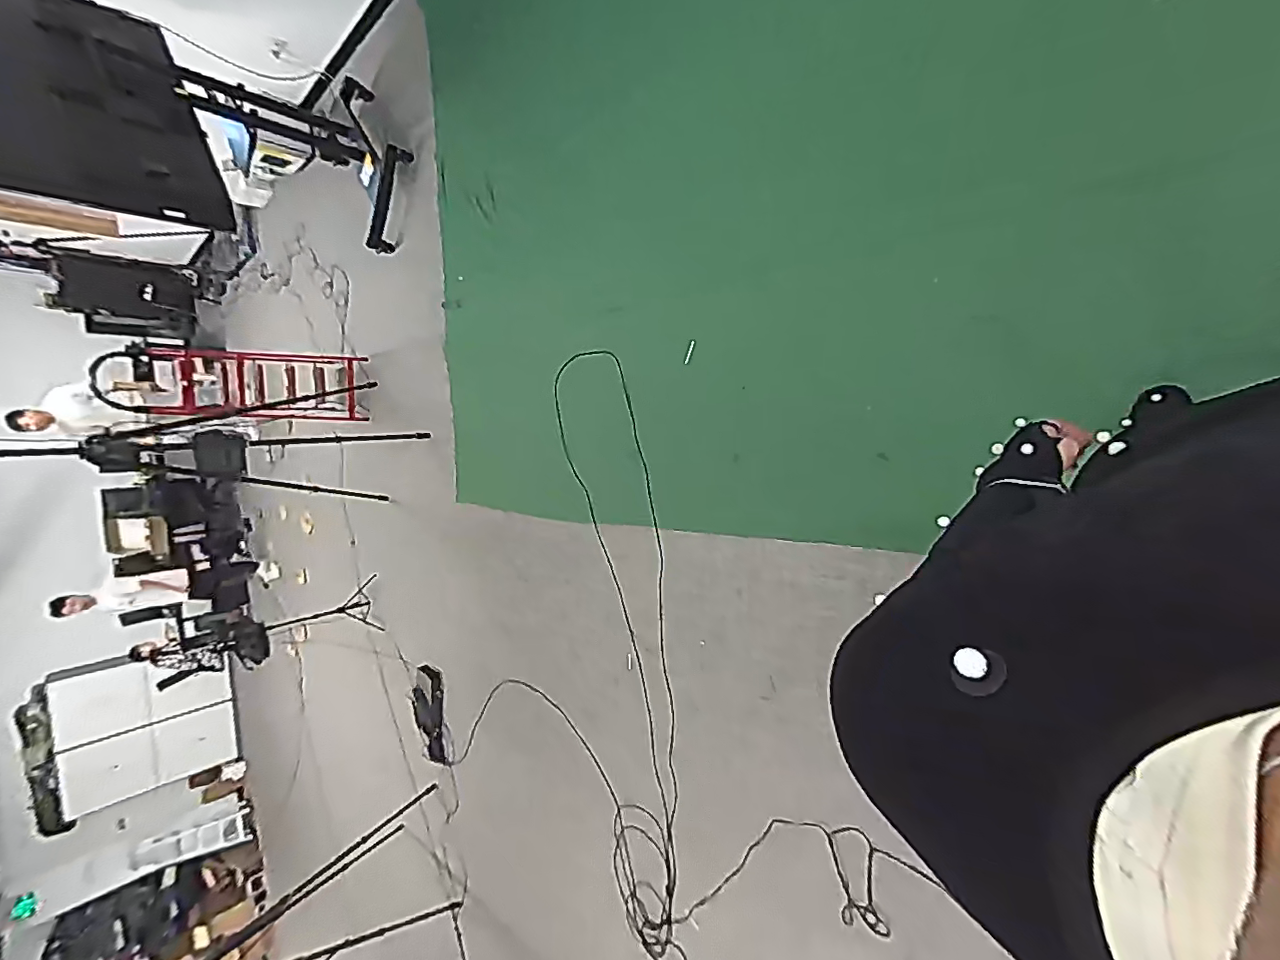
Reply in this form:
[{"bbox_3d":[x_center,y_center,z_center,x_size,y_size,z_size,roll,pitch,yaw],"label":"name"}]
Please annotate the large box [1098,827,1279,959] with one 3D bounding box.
[{"bbox_3d":[1.199,0.999,1.094,0.408,0.320,0.320,-1,94,42],"label":"large box"}]
